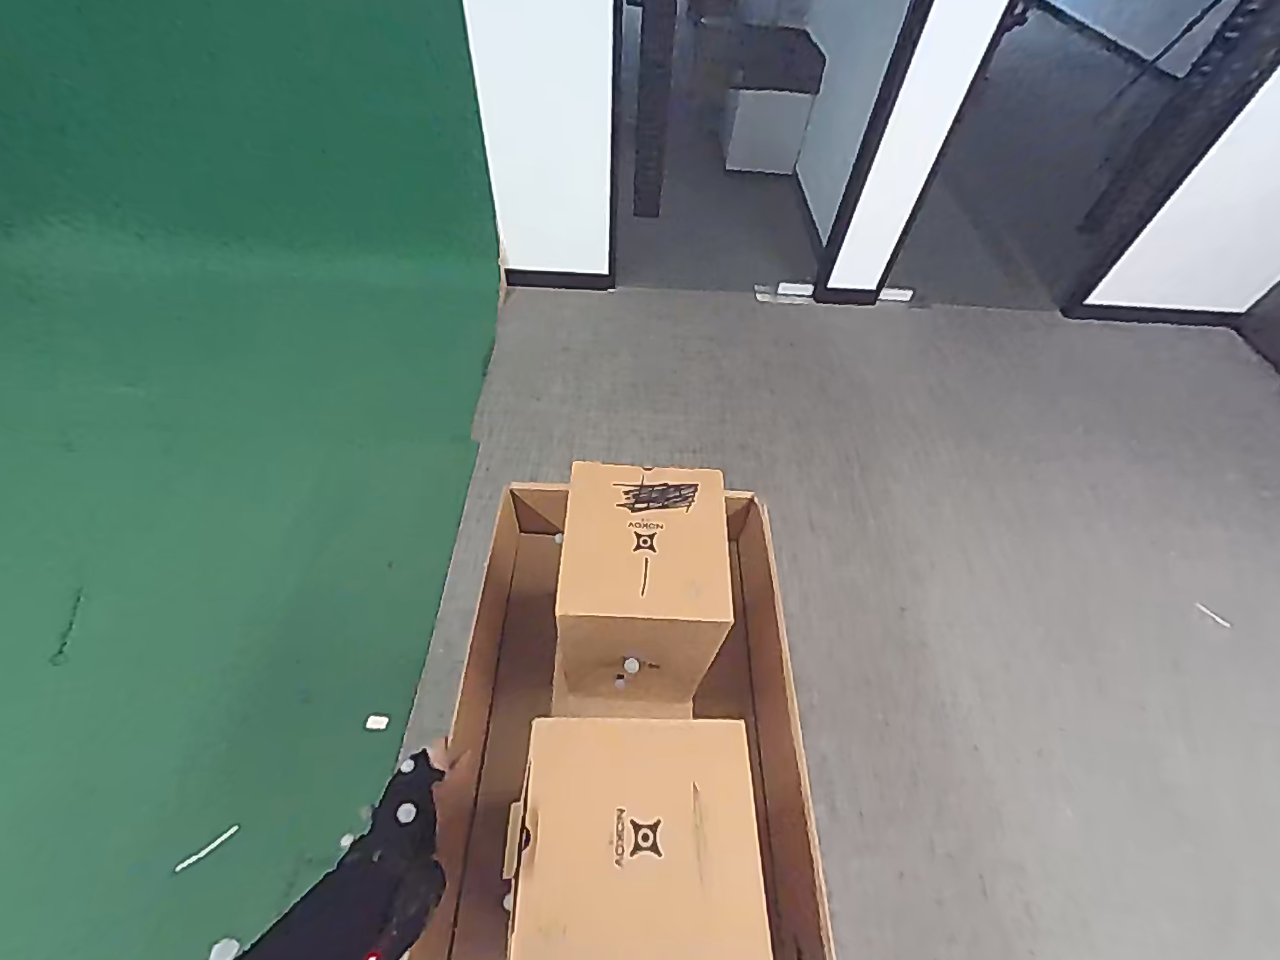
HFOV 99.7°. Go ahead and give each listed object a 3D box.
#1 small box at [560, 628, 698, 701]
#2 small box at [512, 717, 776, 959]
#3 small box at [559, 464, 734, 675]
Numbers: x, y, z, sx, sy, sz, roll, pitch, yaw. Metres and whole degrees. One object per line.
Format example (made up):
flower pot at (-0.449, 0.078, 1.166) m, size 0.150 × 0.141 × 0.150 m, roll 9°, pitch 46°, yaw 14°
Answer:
small box at (-0.007, 0.196, 0.742) m, size 0.179 × 0.176 × 0.168 m, roll 4°, pitch 54°, yaw -1°
small box at (-0.002, 0.309, 0.458) m, size 0.179 × 0.176 × 0.168 m, roll 2°, pitch 53°, yaw -4°
small box at (0.003, 0.104, 0.607) m, size 0.168 × 0.176 × 0.179 m, roll 3°, pitch 55°, yaw -2°
